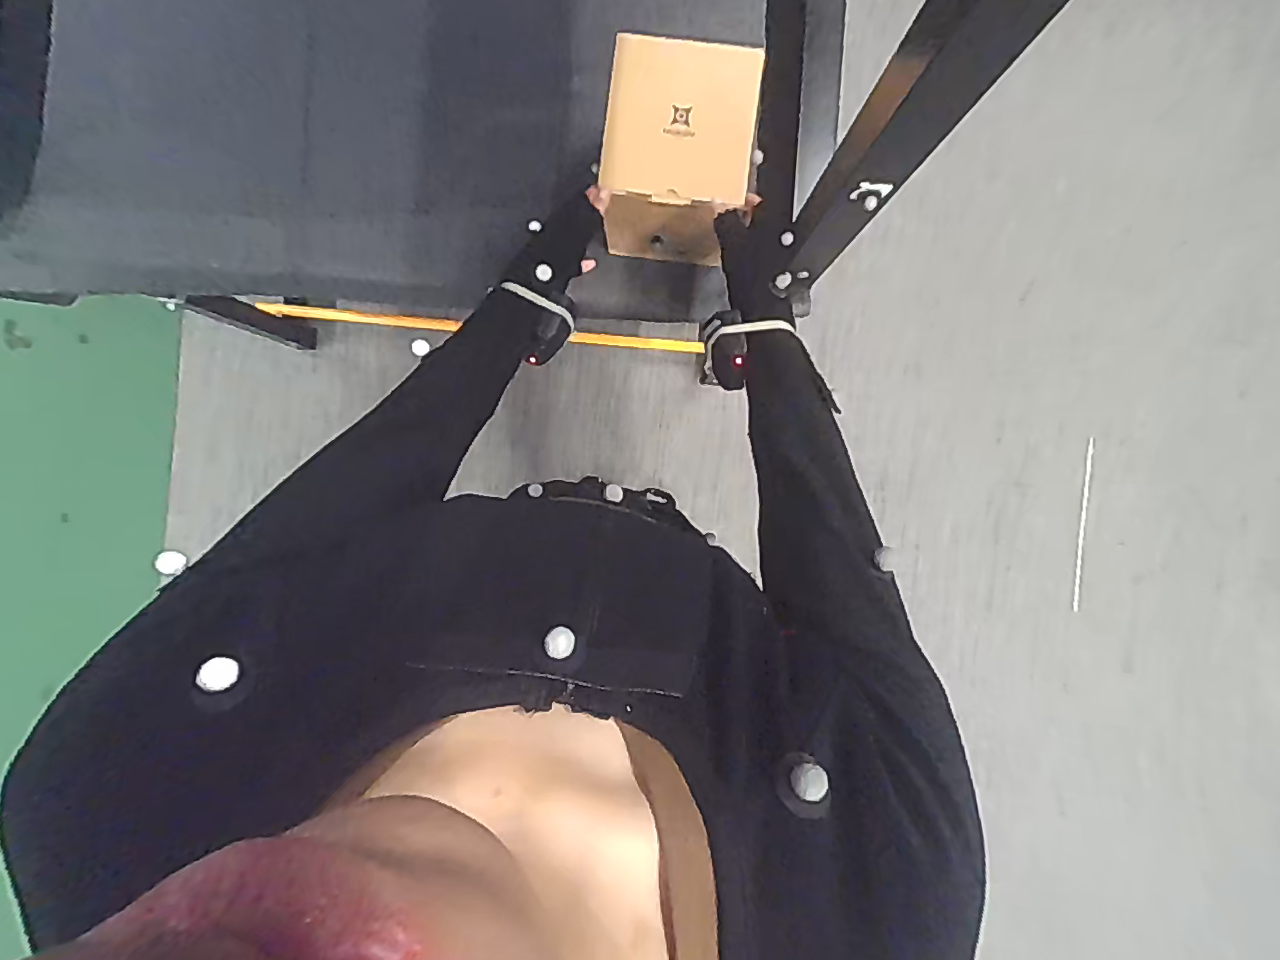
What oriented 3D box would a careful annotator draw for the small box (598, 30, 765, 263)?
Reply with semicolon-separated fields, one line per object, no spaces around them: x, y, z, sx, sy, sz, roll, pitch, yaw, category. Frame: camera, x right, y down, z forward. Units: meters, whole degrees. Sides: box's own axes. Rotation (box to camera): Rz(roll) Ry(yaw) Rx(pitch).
0.046;-0.394;0.667;0.168;0.176;0.179;7;91;2;small box
